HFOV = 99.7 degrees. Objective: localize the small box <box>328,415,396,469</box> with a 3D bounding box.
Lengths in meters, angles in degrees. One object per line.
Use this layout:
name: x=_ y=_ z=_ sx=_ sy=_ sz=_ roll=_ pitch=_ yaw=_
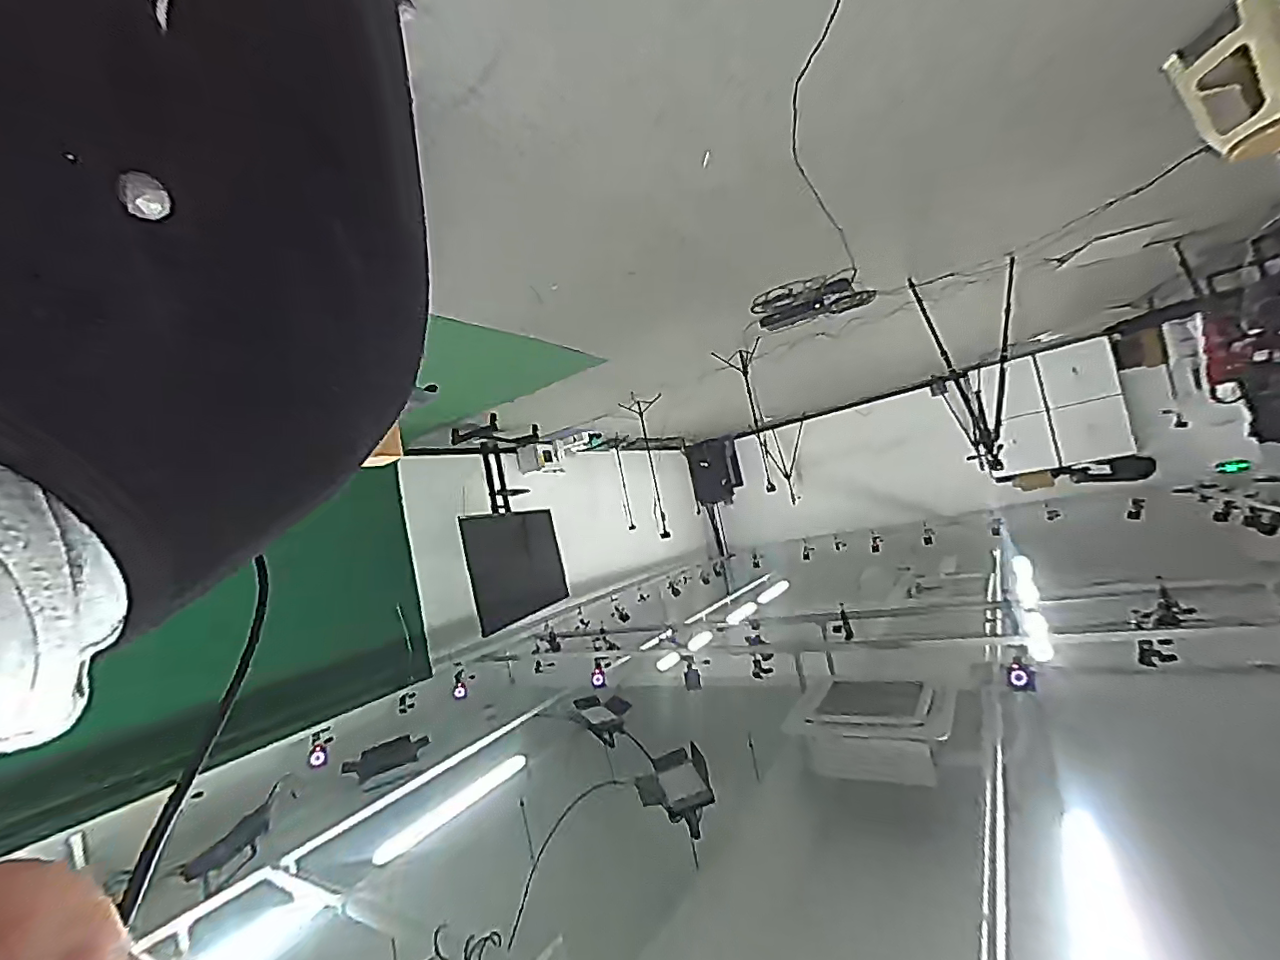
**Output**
small box: x=-1.075 y=-0.150 z=2.082 sx=0.179 sy=0.176 sz=0.168 roll=-16 pitch=175 yaw=36
